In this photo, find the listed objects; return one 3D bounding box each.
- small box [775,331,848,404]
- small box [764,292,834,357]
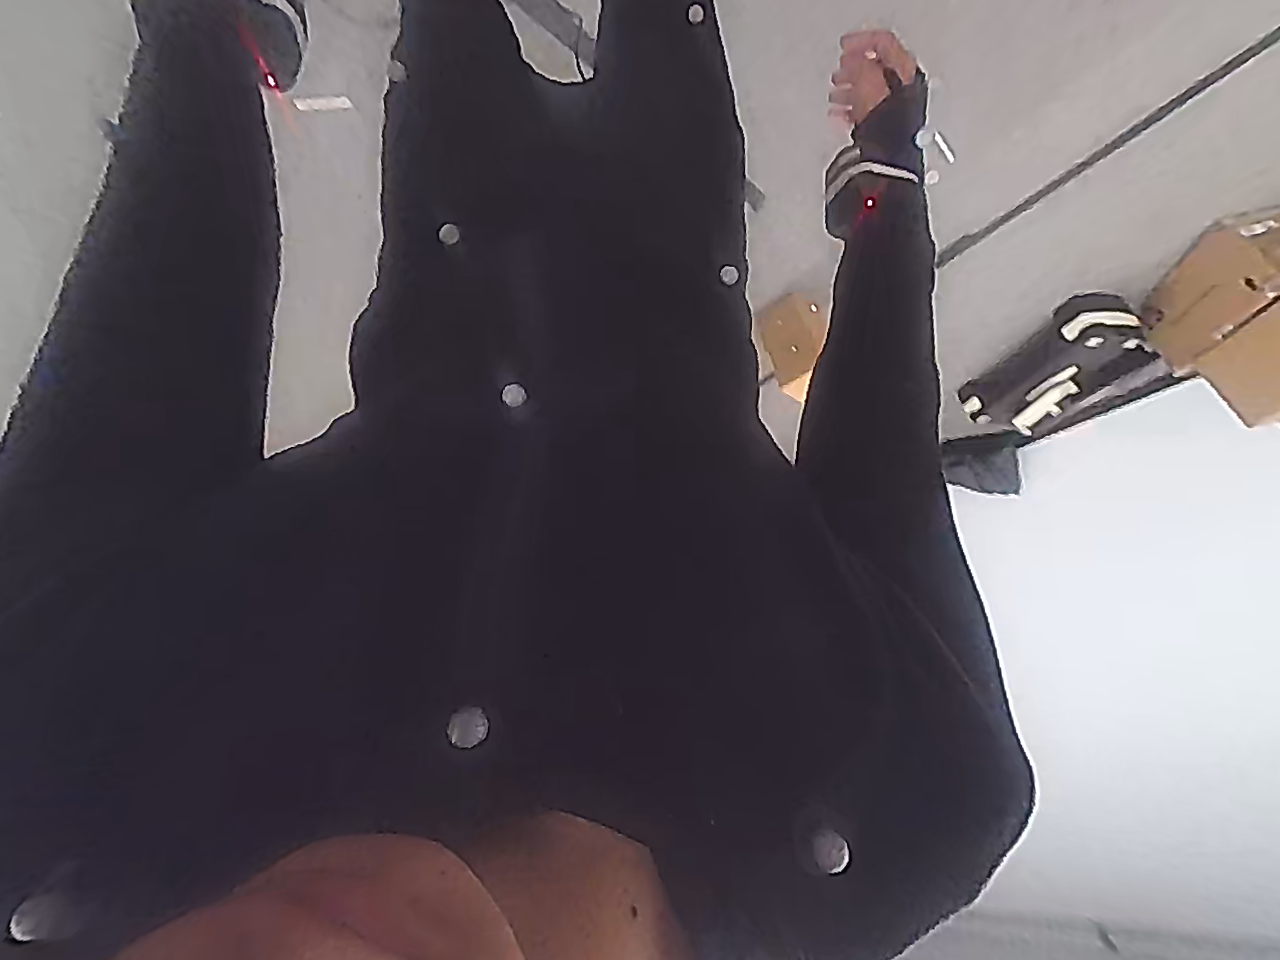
[{"bbox_3d":[0.604,-0.399,1.915,0.179,0.176,0.168,17,146,-40],"label":"small box"},{"bbox_3d":[0.574,-0.546,1.978,0.168,0.176,0.179,13,148,-37],"label":"small box"}]
